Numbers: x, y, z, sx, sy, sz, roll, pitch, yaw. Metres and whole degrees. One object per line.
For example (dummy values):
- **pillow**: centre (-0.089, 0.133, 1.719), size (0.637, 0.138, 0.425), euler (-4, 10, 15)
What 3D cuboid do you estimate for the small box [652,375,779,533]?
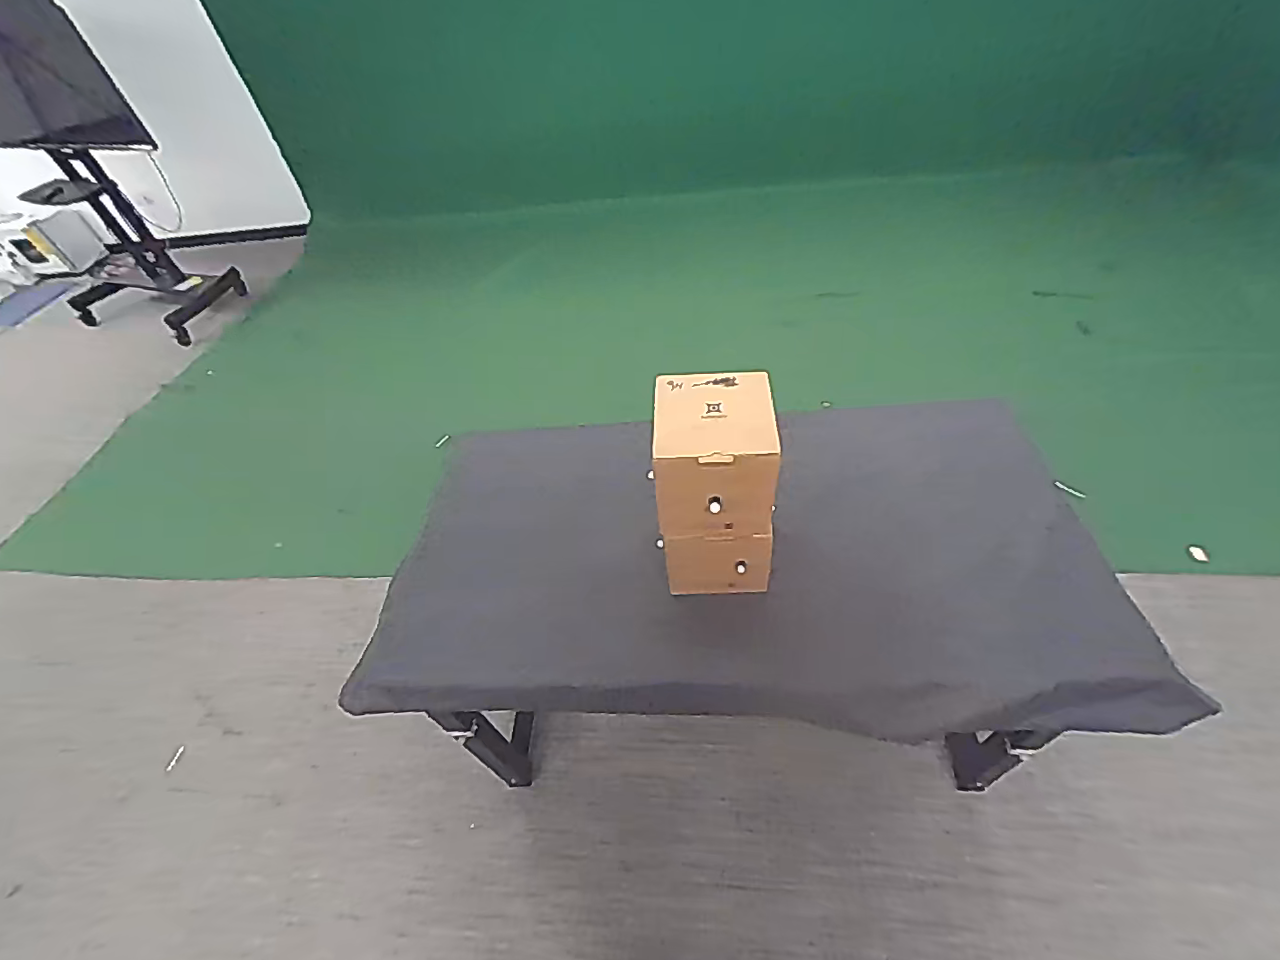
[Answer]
- **small box**: centre (0.109, -0.034, 0.807), size (0.168, 0.176, 0.179), euler (-1, 49, 5)

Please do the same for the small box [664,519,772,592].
- **small box**: centre (0.128, 0.079, 0.925), size (0.168, 0.176, 0.179), euler (-2, 47, 5)
